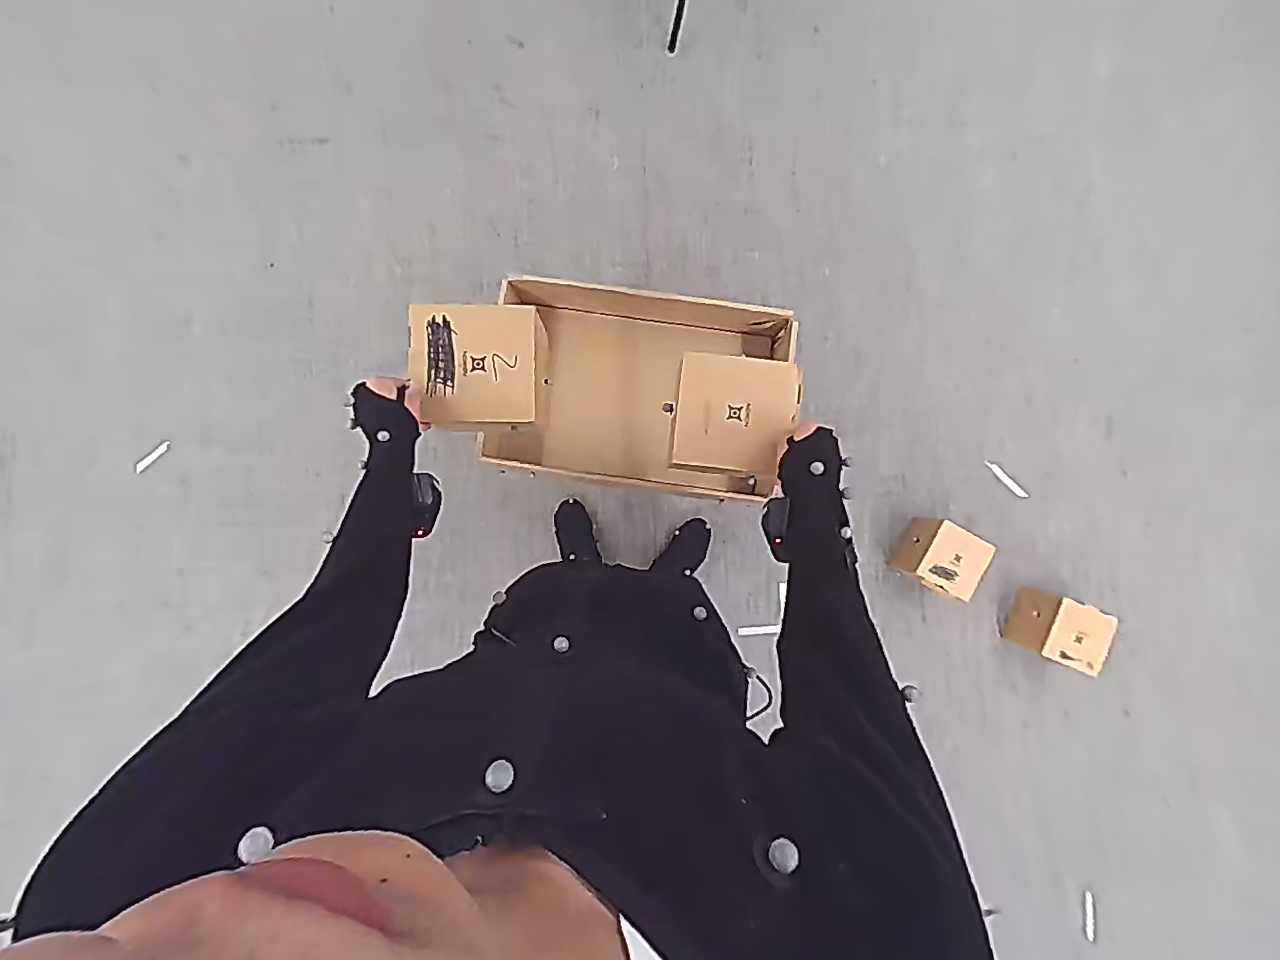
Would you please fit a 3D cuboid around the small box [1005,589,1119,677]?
[{"bbox_3d":[1.197,0.429,1.548,0.168,0.176,0.179,23,88,1],"label":"small box"}]

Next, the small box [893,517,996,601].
[{"bbox_3d":[0.861,0.219,1.553,0.168,0.176,0.179,30,88,1],"label":"small box"}]

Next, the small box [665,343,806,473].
[{"bbox_3d":[0.139,-0.101,0.842,0.179,0.176,0.168,7,88,-1],"label":"small box"}]
